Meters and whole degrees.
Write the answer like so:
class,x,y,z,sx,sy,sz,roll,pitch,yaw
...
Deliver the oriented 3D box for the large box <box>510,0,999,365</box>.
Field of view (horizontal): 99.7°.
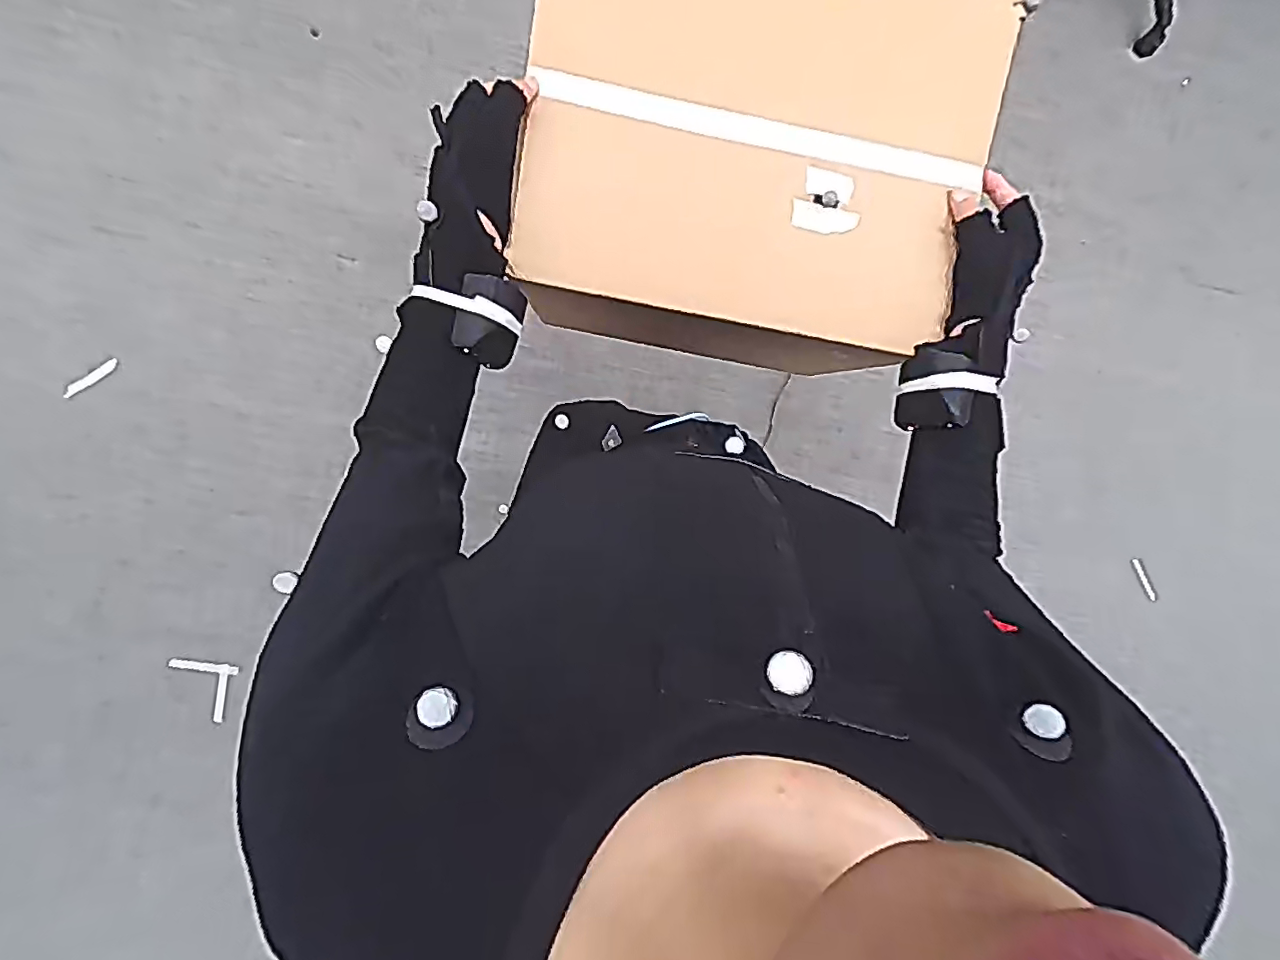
class,x,y,z,sx,sy,sz,roll,pitch,yaw
large box,0.089,-0.327,0.627,0.408,0.320,0.320,10,99,-6
